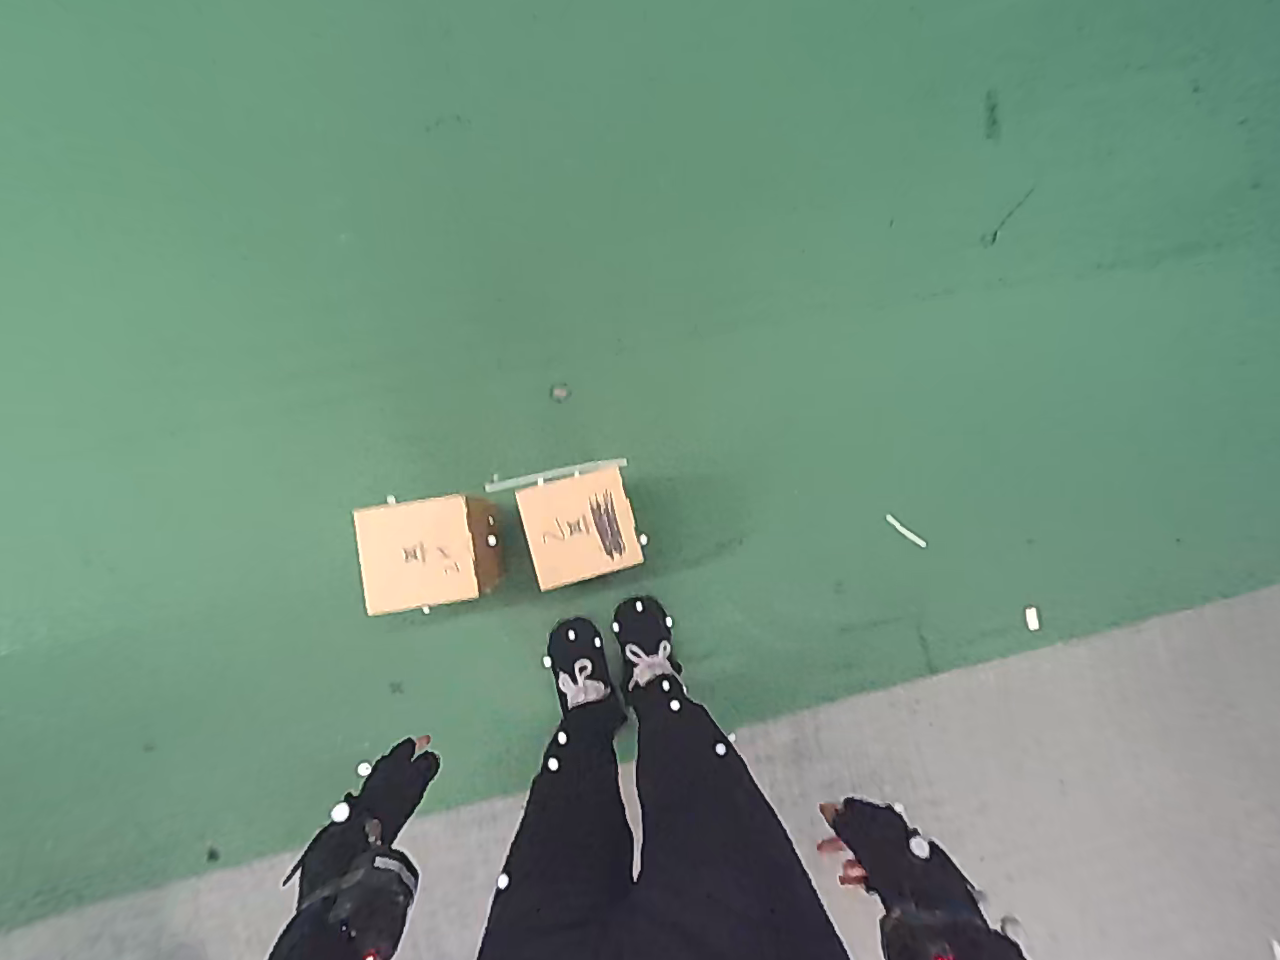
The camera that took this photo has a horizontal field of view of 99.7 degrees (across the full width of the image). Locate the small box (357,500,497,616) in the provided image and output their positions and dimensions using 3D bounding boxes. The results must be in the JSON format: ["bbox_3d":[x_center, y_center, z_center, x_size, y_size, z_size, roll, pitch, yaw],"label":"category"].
[{"bbox_3d":[-0.358,0.129,0.934,0.179,0.176,0.168,-8,87,-5],"label":"small box"}]
